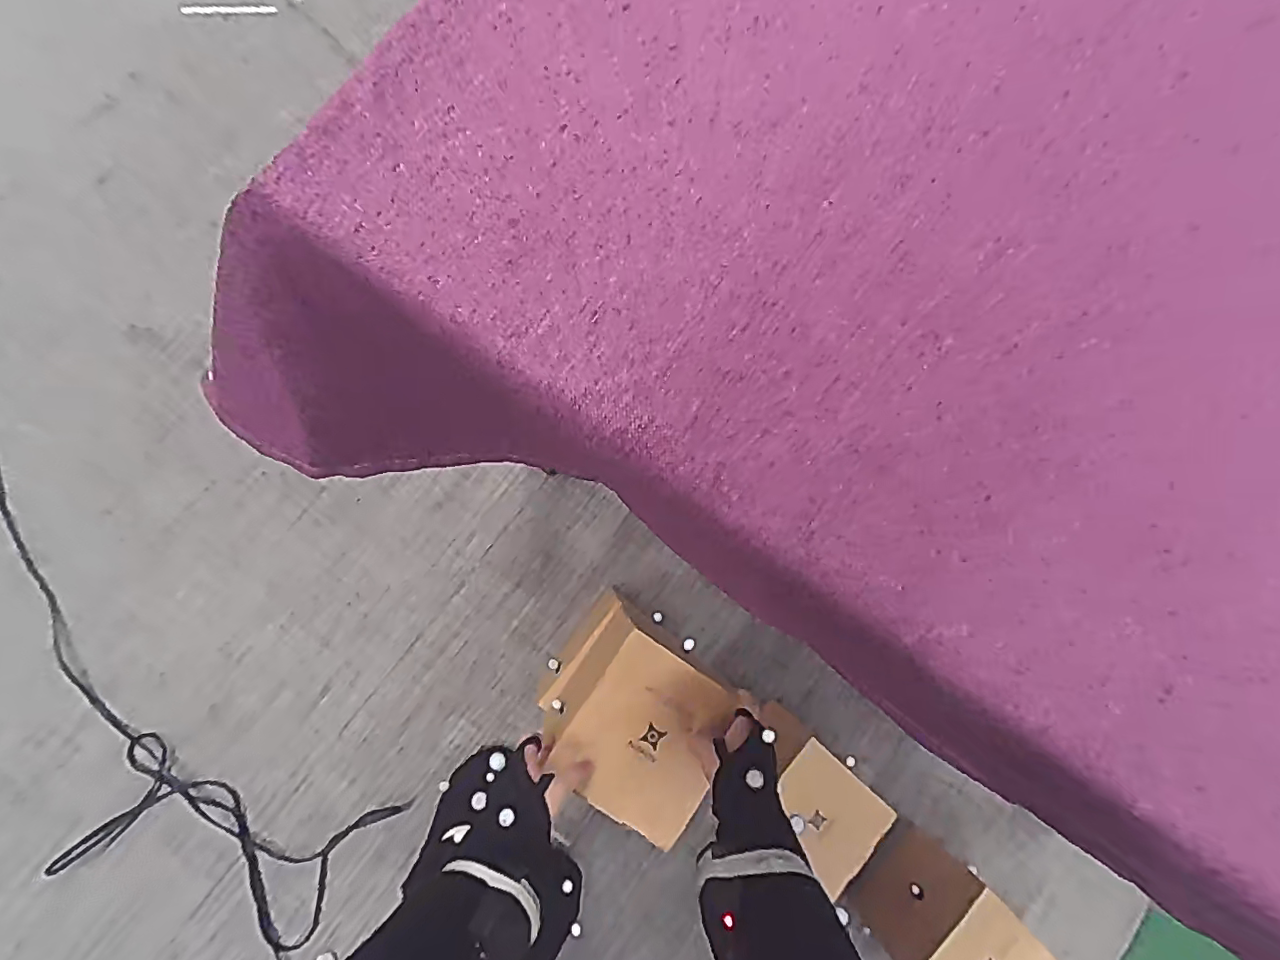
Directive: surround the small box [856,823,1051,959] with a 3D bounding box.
[{"bbox_3d":[0.473,0.700,0.851,0.179,0.176,0.168,-44,93,-9],"label":"small box"}]
